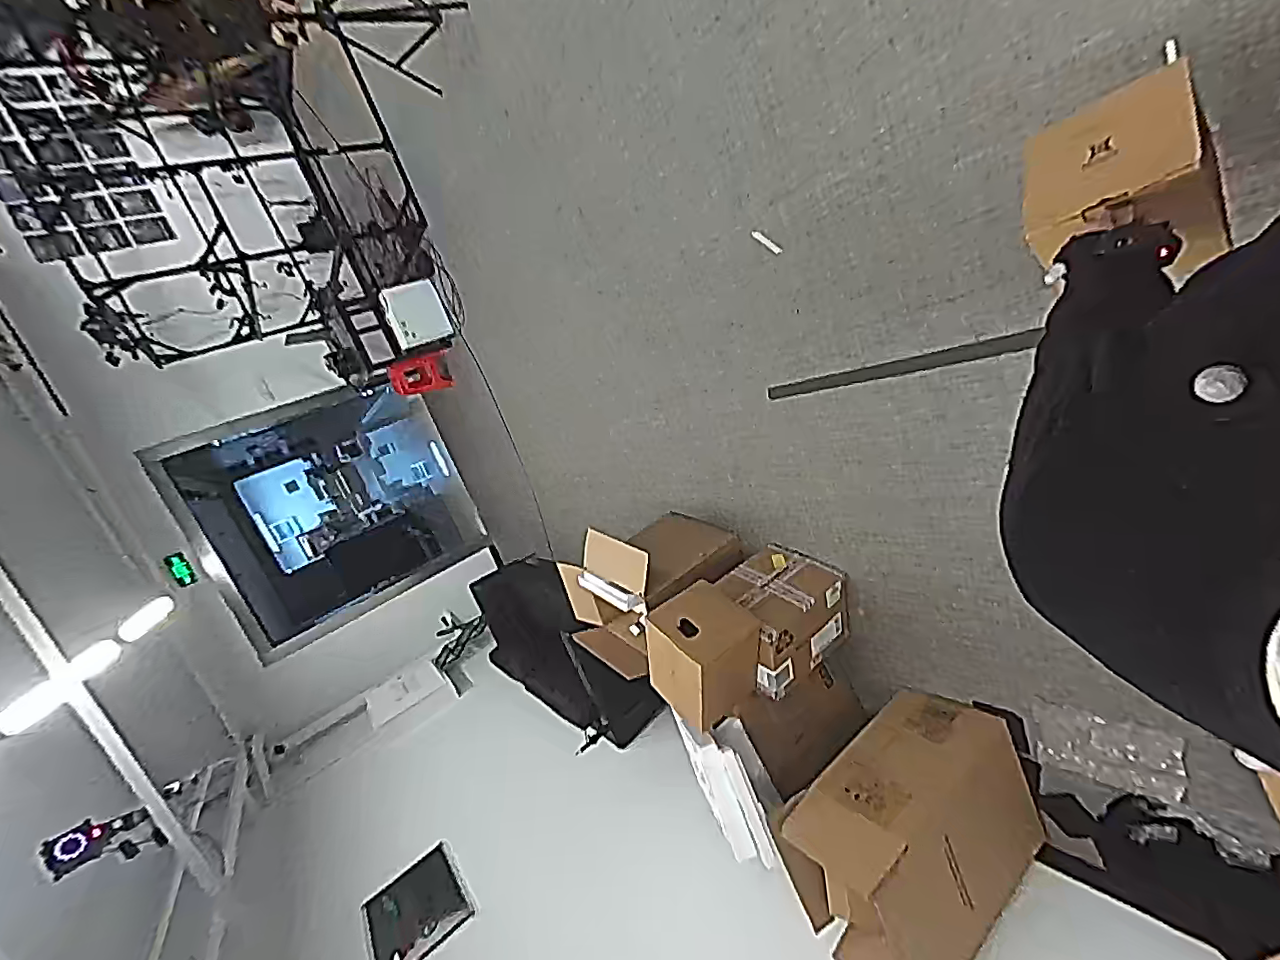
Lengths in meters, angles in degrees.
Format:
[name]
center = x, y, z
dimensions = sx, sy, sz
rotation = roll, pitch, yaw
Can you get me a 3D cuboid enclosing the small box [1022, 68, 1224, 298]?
[small box]
center = 0.631, -0.368, 0.713
dimensions = 0.176, 0.179, 0.168
rotation = 28, 156, -32
